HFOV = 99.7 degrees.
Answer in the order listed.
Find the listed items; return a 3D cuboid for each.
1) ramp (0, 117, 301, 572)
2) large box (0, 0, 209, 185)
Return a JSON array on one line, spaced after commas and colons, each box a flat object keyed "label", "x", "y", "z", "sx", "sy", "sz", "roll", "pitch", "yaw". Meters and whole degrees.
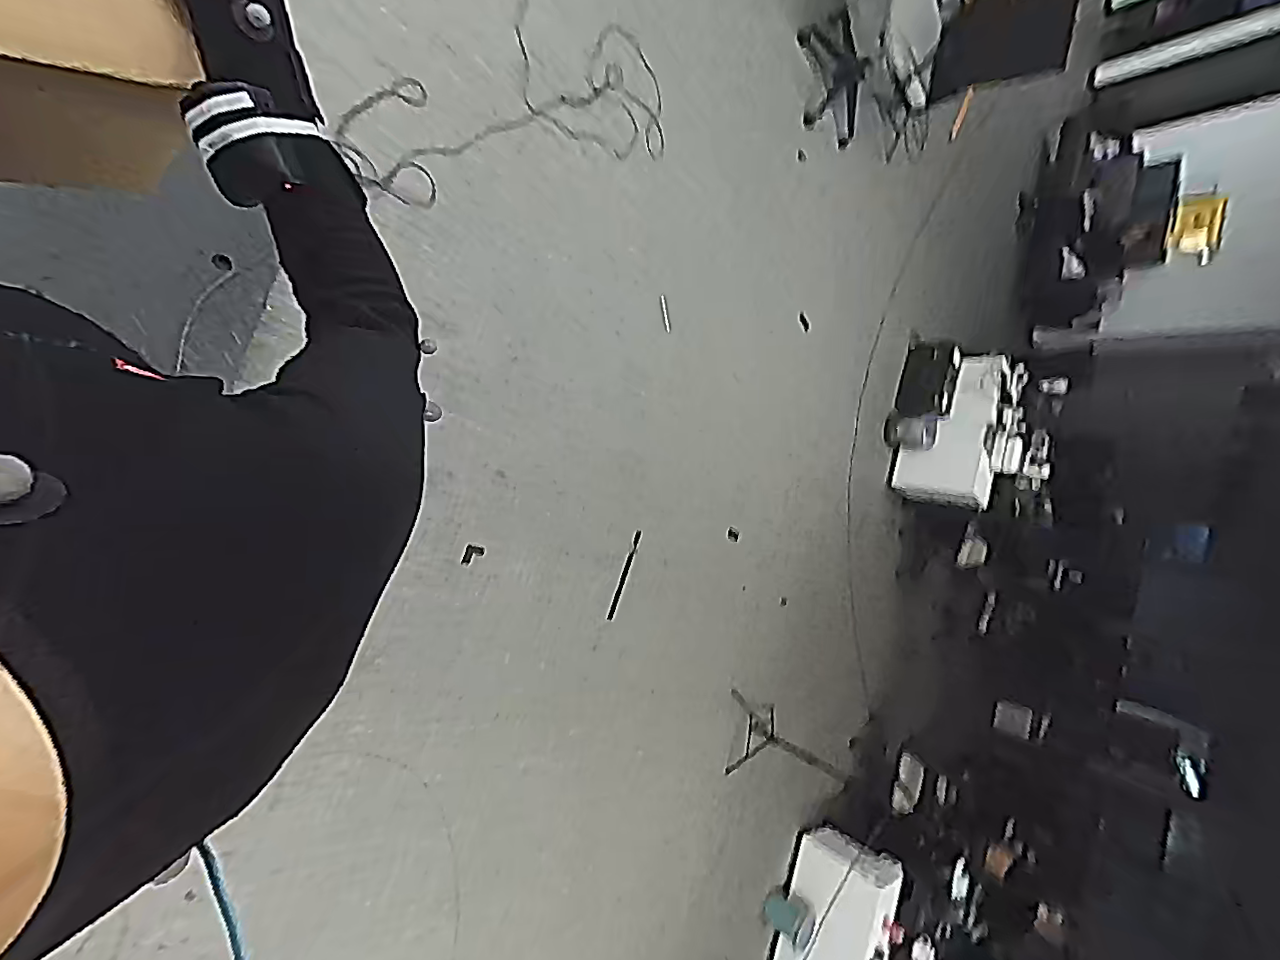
[{"label": "ramp", "x": -1.105, "y": -0.345, "z": 1.096, "sx": 0.509, "sy": 0.206, "sz": 0.991, "roll": 21, "pitch": 82, "yaw": -43}, {"label": "large box", "x": -0.561, "y": -0.392, "z": 0.306, "sx": 0.408, "sy": 0.320, "sz": 0.320, "roll": -20, "pitch": 112, "yaw": -44}]
